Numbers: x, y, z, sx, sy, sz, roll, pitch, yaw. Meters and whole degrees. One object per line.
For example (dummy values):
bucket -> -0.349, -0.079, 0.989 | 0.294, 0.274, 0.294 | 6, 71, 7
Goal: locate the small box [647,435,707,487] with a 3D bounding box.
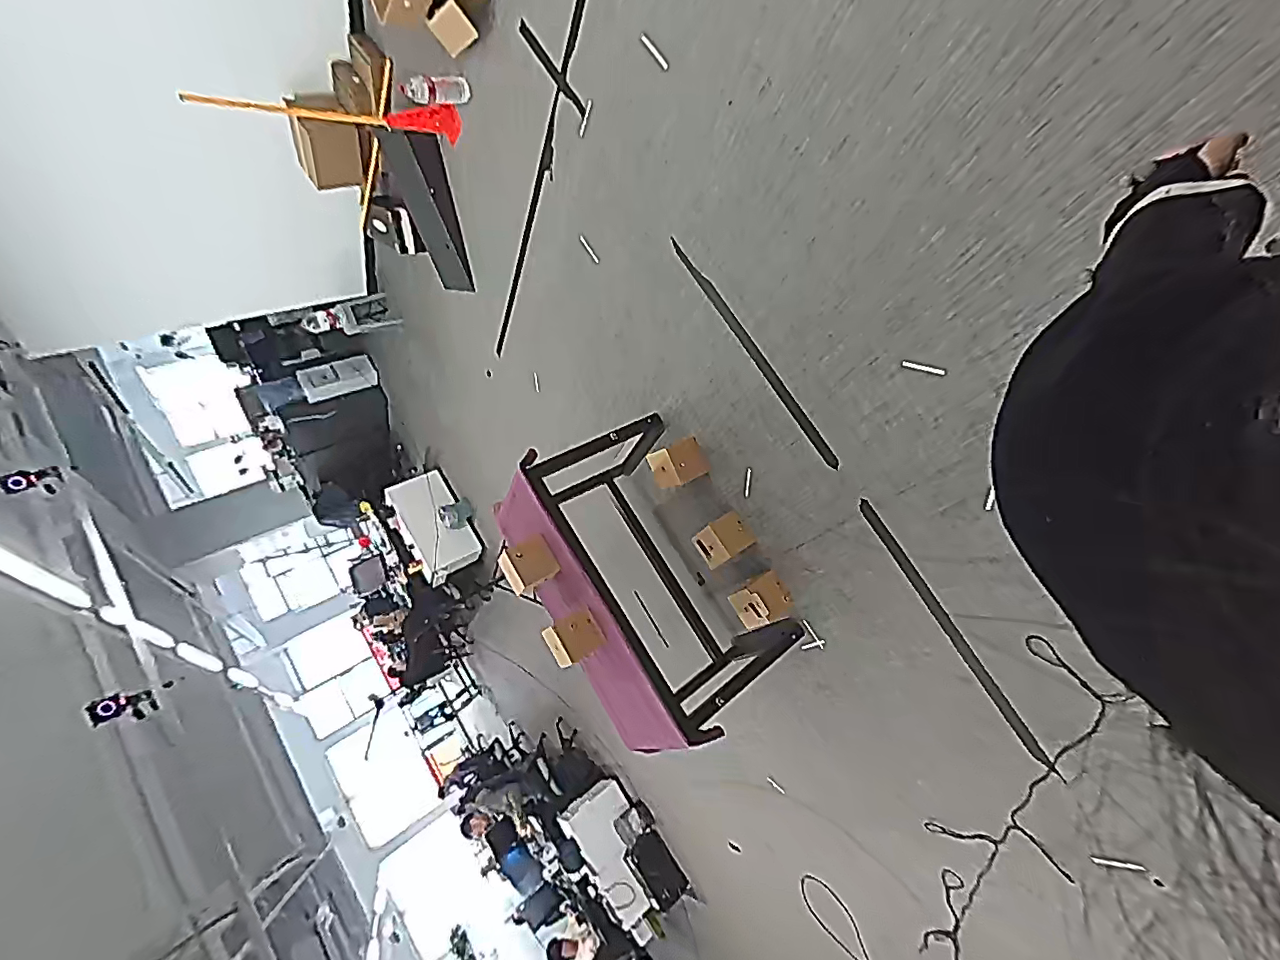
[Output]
small box -> 0.167, -0.088, 2.402 | 0.168, 0.176, 0.179 | -17, 99, 57

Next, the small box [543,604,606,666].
small box -> -0.256, 0.611, 2.135 | 0.168, 0.176, 0.179 | 58, 150, 9

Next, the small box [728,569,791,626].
small box -> 0.520, 0.501, 2.321 | 0.168, 0.176, 0.179 | 58, 149, 9

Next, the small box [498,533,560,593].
small box -> -0.454, 0.336, 2.216 | 0.179, 0.176, 0.168 | 57, 149, 8
